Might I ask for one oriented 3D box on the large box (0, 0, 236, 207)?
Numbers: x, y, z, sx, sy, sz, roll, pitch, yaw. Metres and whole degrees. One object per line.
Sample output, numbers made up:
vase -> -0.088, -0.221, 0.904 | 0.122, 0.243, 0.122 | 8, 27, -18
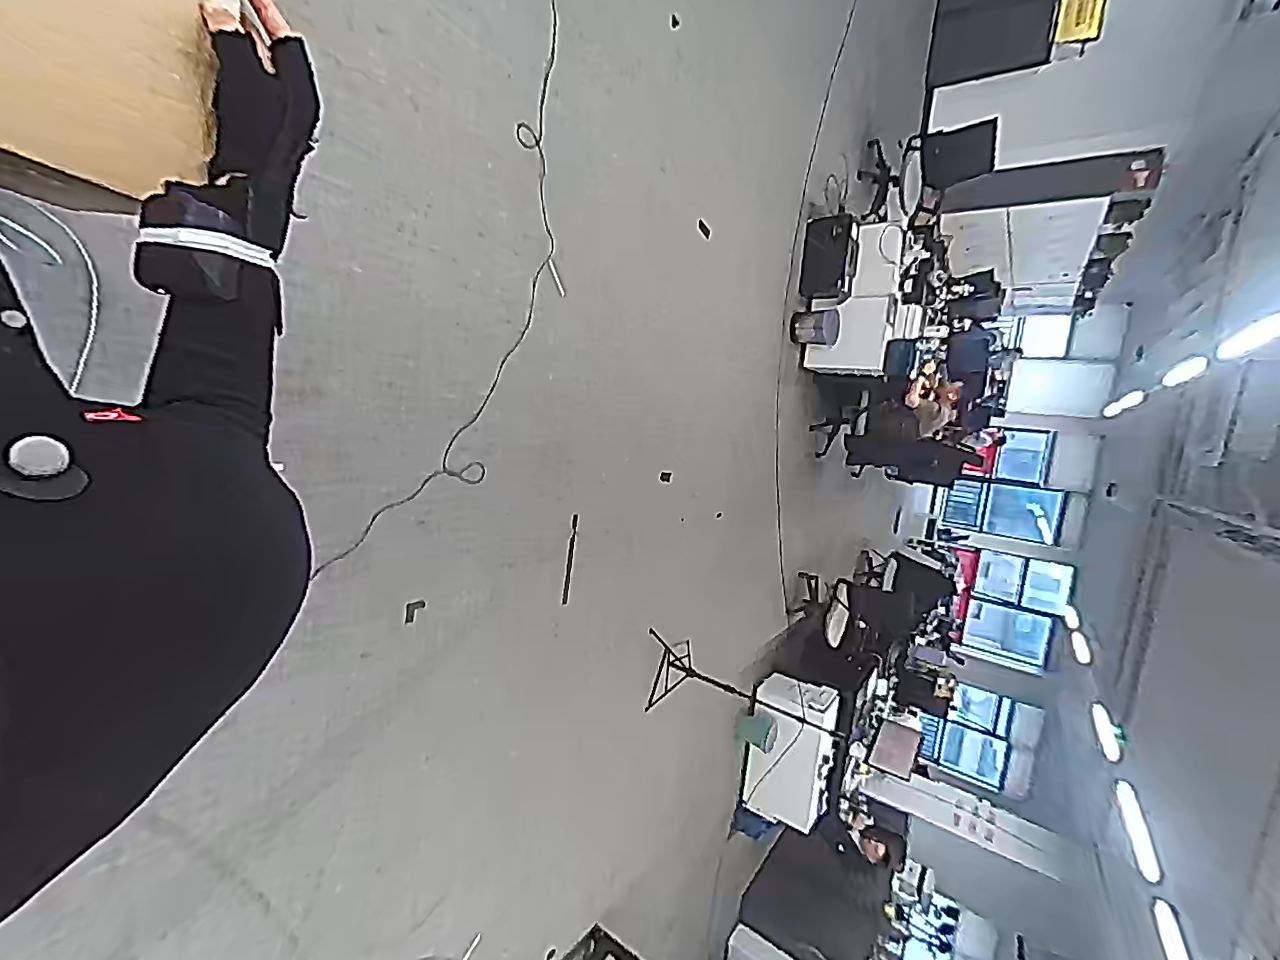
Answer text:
large box -> -0.526, -0.400, 0.305 | 0.408, 0.320, 0.320 | 3, 104, -60
